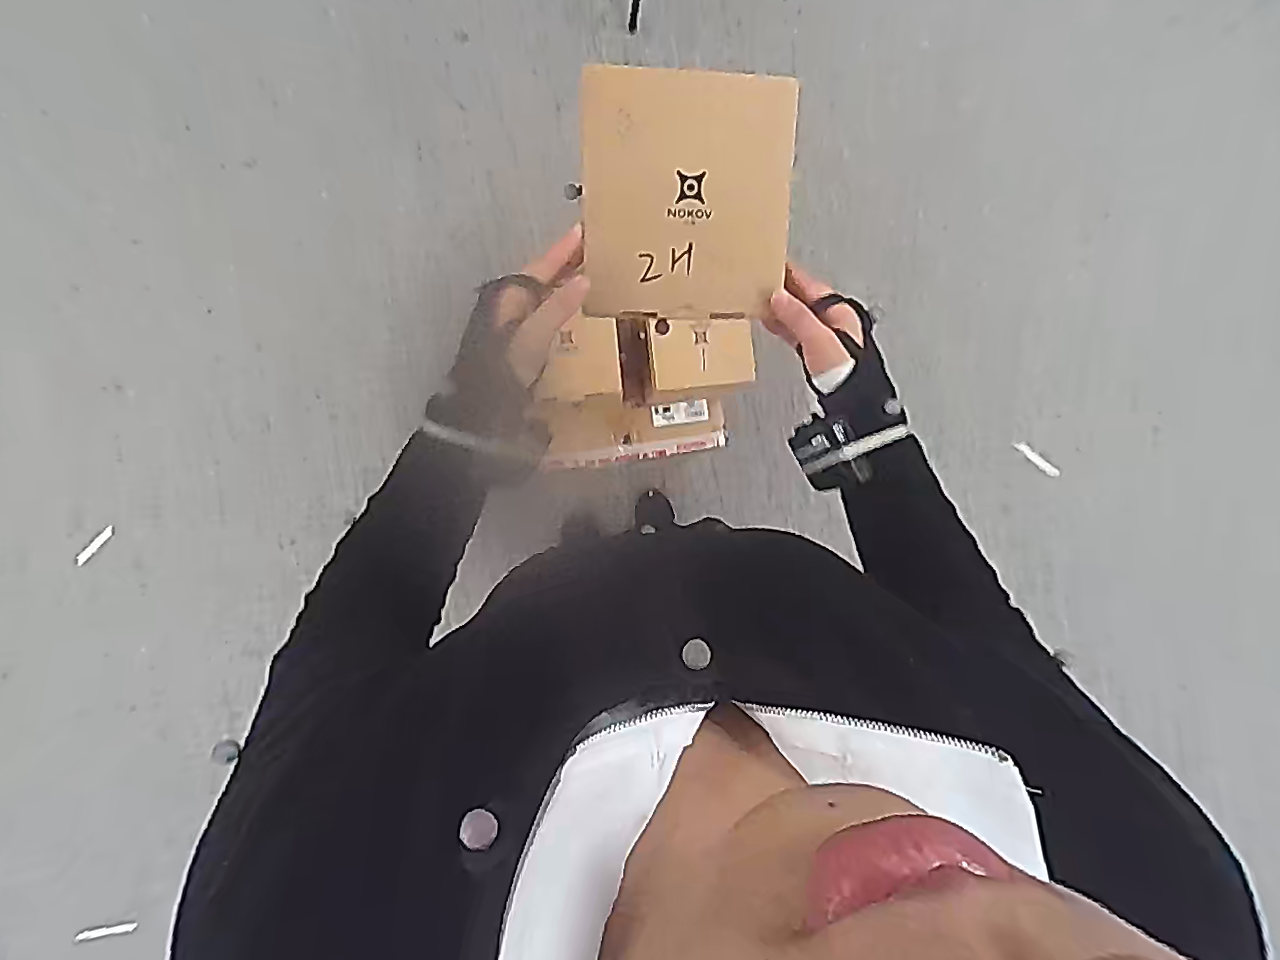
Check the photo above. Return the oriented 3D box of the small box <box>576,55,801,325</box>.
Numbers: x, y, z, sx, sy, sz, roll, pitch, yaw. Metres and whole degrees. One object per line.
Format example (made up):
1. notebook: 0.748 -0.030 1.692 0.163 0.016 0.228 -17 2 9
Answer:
1. small box: 0.026 -0.234 0.485 0.168 0.176 0.179 0 106 -6

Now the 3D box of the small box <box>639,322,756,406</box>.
1. small box: 0.093 -0.234 0.948 0.168 0.176 0.179 -6 91 -4

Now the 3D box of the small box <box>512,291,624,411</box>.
1. small box: -0.116 -0.213 0.936 0.168 0.176 0.179 -5 91 -1
